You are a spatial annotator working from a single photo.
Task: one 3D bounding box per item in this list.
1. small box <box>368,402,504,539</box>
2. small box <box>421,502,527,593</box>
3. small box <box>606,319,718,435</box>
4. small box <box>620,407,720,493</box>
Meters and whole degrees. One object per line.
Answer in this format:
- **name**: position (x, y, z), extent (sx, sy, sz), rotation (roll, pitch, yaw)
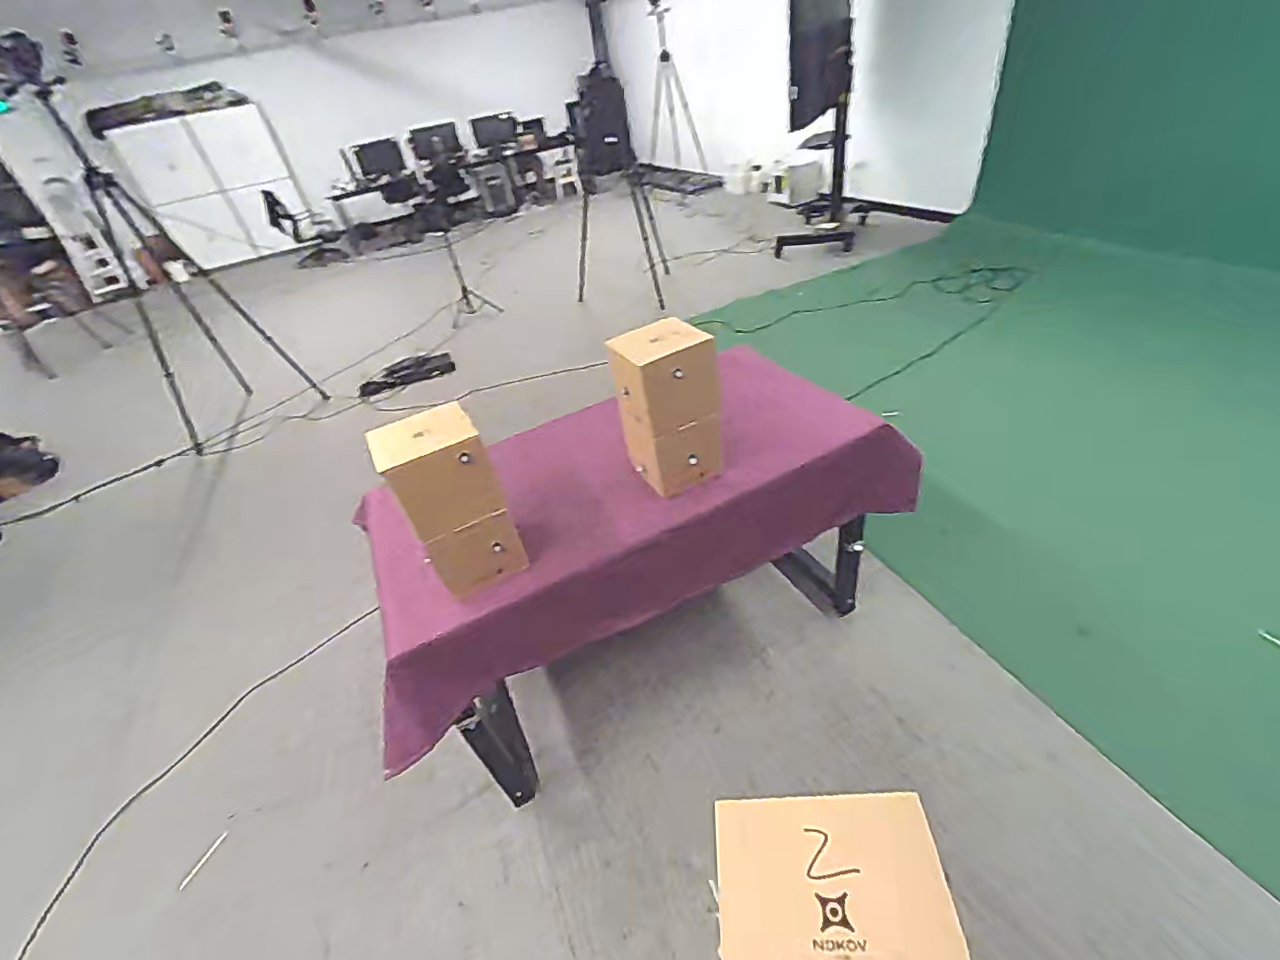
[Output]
- **small box**: position (-0.379, -0.018, 1.014), extent (0.179, 0.176, 0.168), rotation (-24, 39, -19)
- **small box**: position (-0.350, 0.108, 1.113), extent (0.168, 0.176, 0.179), rotation (-24, 38, -17)
- **small box**: position (0.051, -0.219, 1.157), extent (0.179, 0.176, 0.168), rotation (-24, 39, -16)
- **small box**: position (0.074, -0.090, 1.259), extent (0.168, 0.176, 0.179), rotation (-23, 40, -16)
